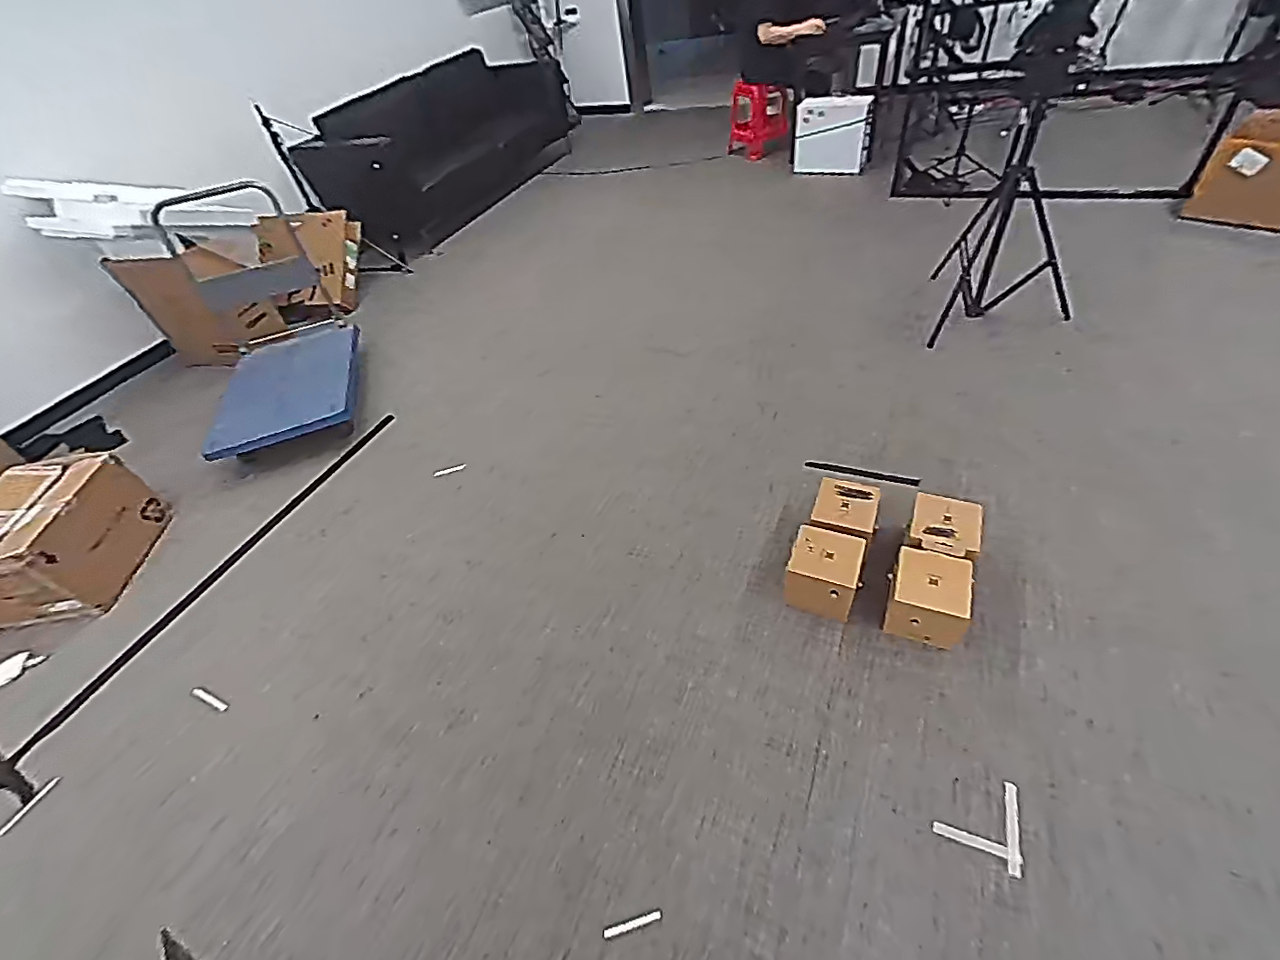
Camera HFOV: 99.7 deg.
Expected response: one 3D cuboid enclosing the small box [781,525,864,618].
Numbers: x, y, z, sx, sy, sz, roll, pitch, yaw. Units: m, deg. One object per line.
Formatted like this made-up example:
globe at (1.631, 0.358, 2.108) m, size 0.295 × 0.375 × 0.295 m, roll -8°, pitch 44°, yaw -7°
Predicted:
small box at (0.495, 0.255, 1.479) m, size 0.179 × 0.176 × 0.168 m, roll 13°, pitch 50°, yaw 23°
